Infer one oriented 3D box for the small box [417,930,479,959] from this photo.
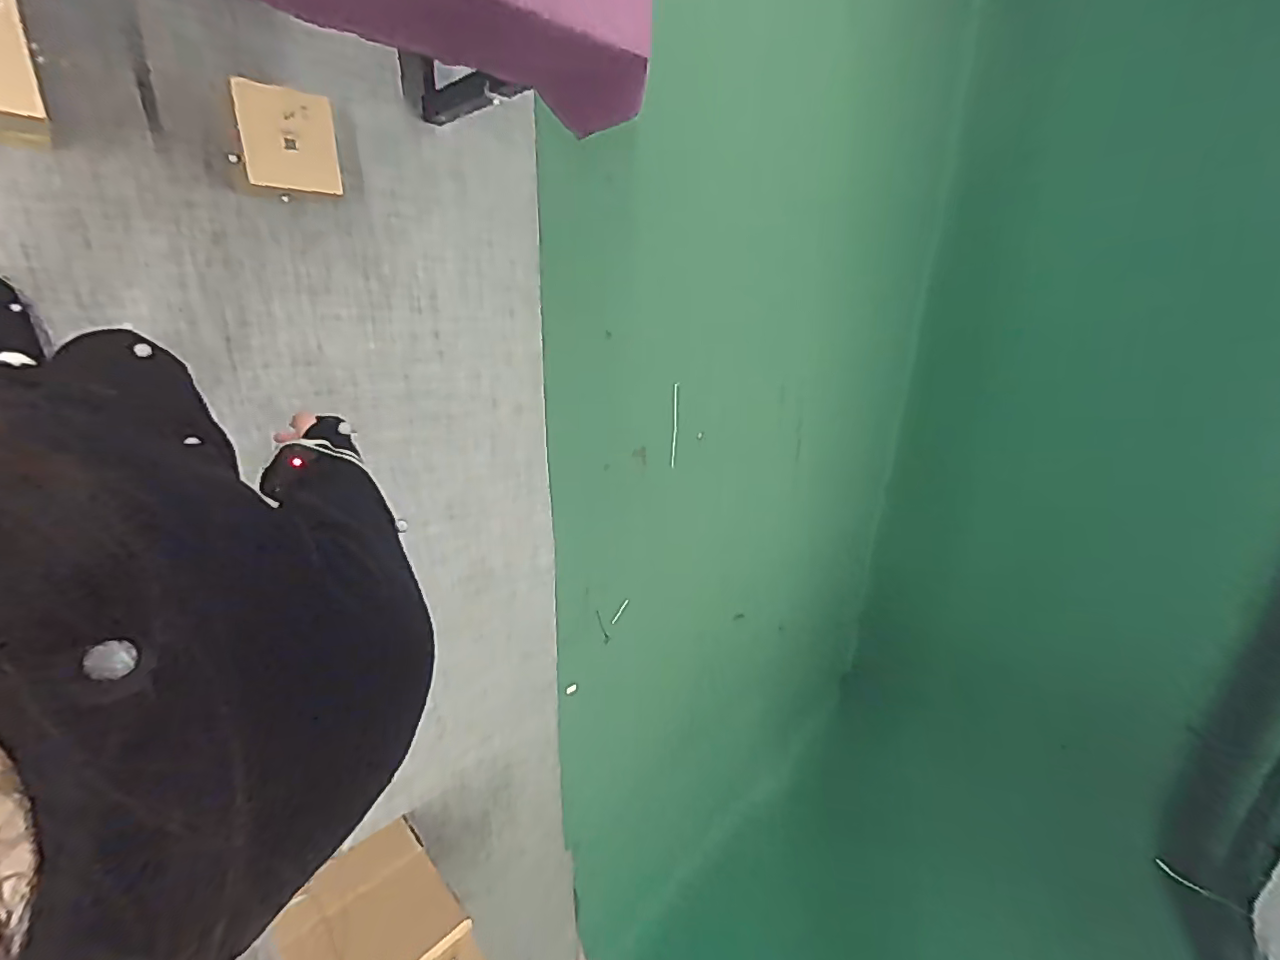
[{"bbox_3d":[-0.521,1.403,1.480,0.168,0.176,0.179,-17,115,-41],"label":"small box"}]
